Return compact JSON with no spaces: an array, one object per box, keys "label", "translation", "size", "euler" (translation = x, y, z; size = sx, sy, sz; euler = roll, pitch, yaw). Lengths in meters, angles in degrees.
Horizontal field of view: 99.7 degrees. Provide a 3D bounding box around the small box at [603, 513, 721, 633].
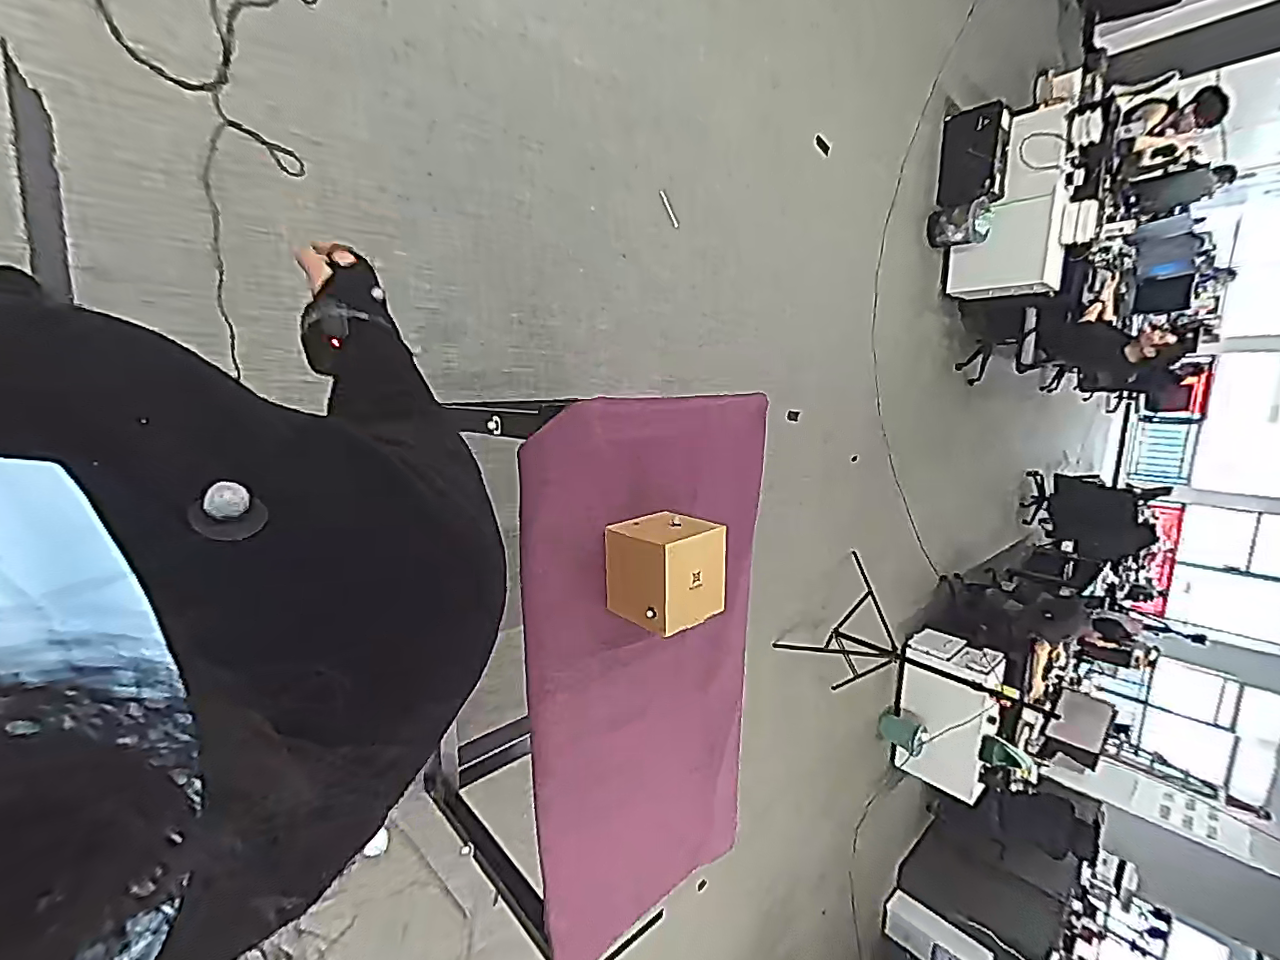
[{"label":"small box","translation":[0.041,0.167,1.052],"size":[0.168,0.176,0.179],"euler":[-12,106,-41]}]
